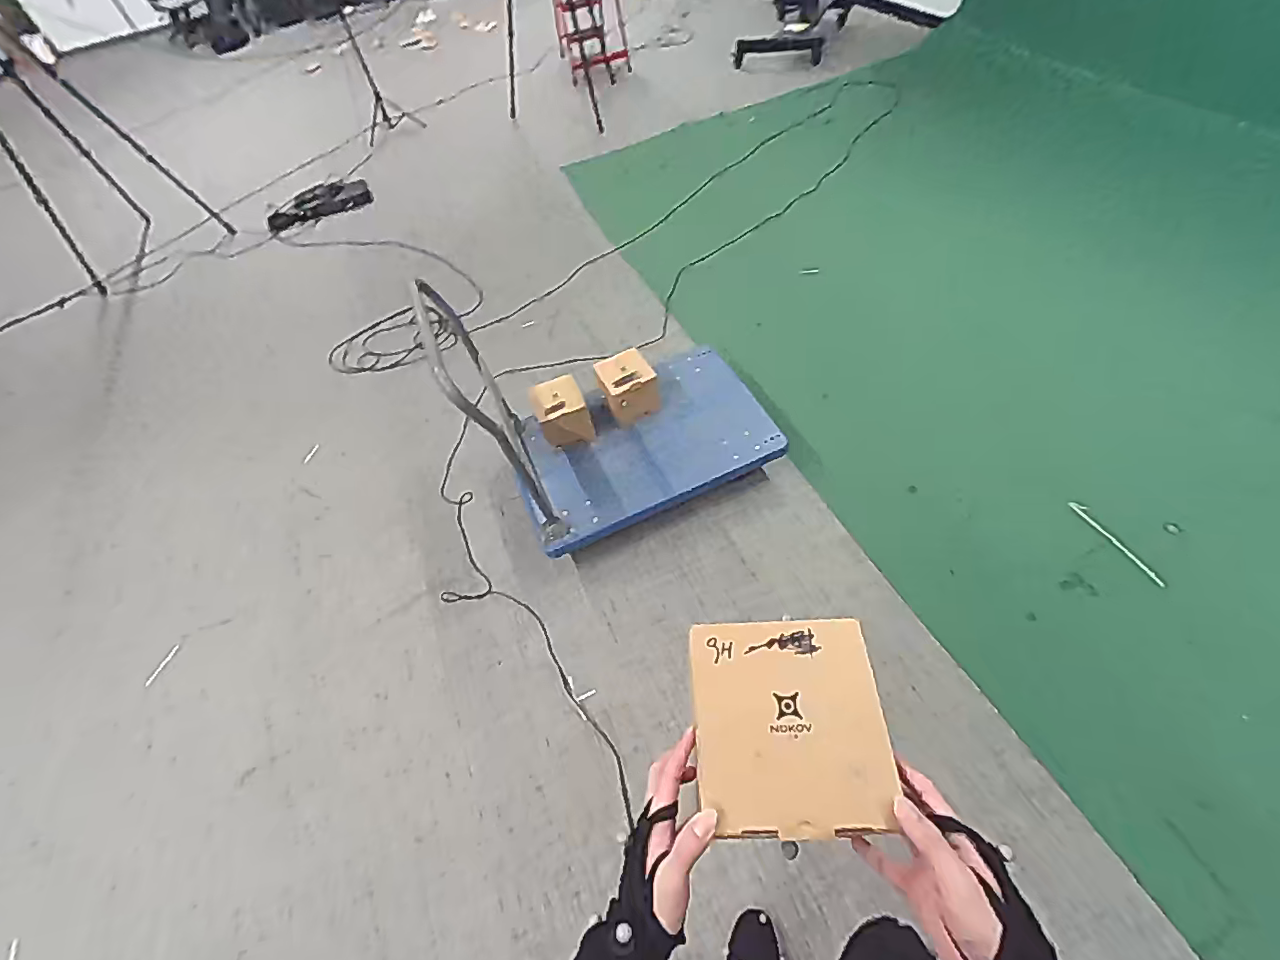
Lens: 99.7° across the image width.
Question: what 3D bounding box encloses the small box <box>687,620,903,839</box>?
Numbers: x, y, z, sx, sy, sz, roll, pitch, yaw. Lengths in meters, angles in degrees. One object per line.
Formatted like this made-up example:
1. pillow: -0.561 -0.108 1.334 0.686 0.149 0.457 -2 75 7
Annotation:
1. small box: 0.135 0.253 0.544 0.168 0.176 0.179 -3 57 3

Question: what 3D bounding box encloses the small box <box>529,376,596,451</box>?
1. small box: -0.261 -0.219 1.848 0.168 0.176 0.179 -21 54 -7
